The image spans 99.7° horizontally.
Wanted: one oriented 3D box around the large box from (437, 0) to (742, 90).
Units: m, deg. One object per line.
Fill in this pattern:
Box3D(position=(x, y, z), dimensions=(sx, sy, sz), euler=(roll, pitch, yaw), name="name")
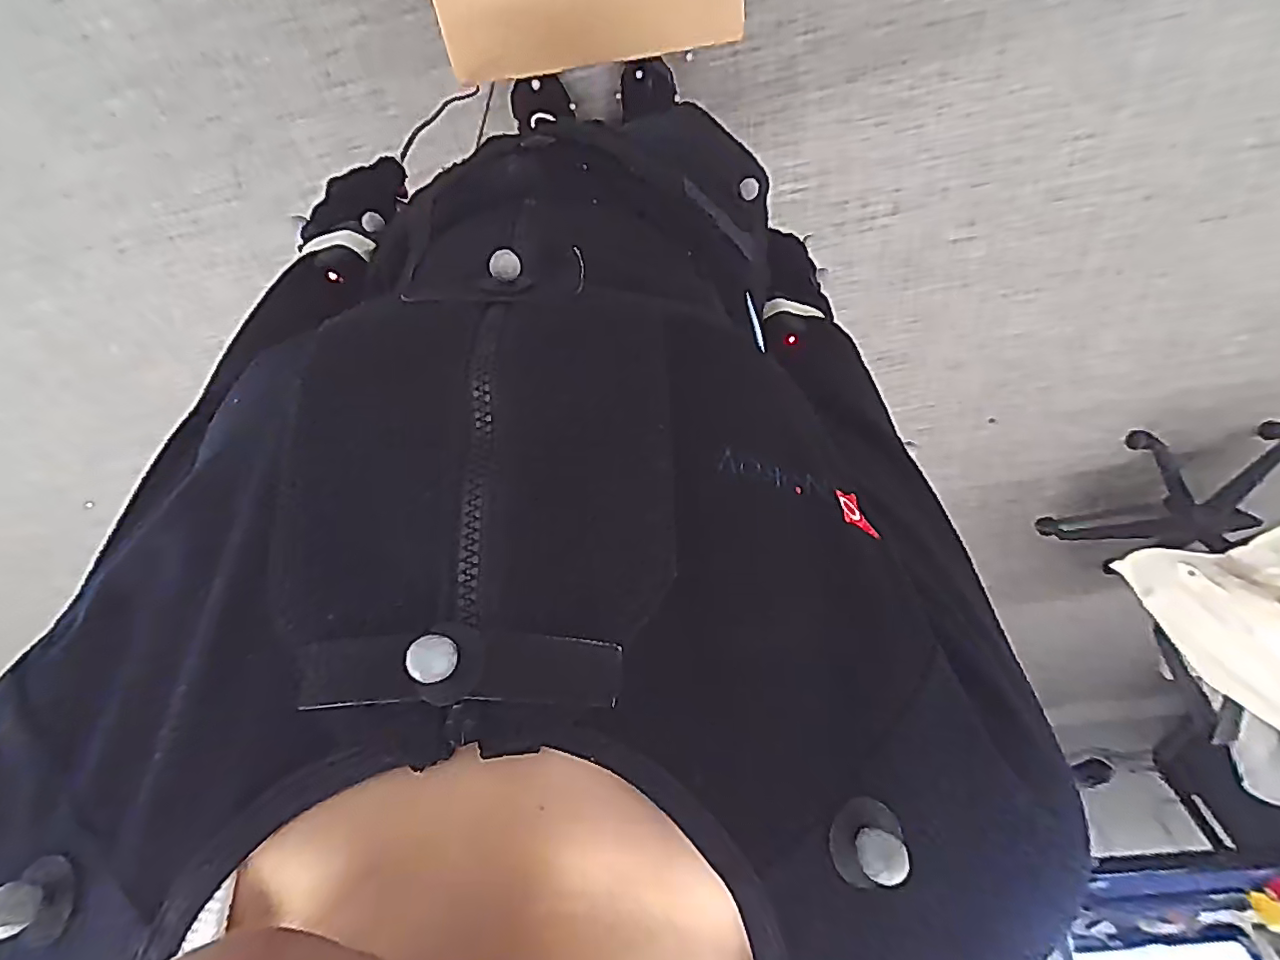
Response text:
Box3D(position=(-0.080, -0.791, 0.766), dimensions=(0.408, 0.320, 0.320), euler=(-7, 131, 3), name="large box")
